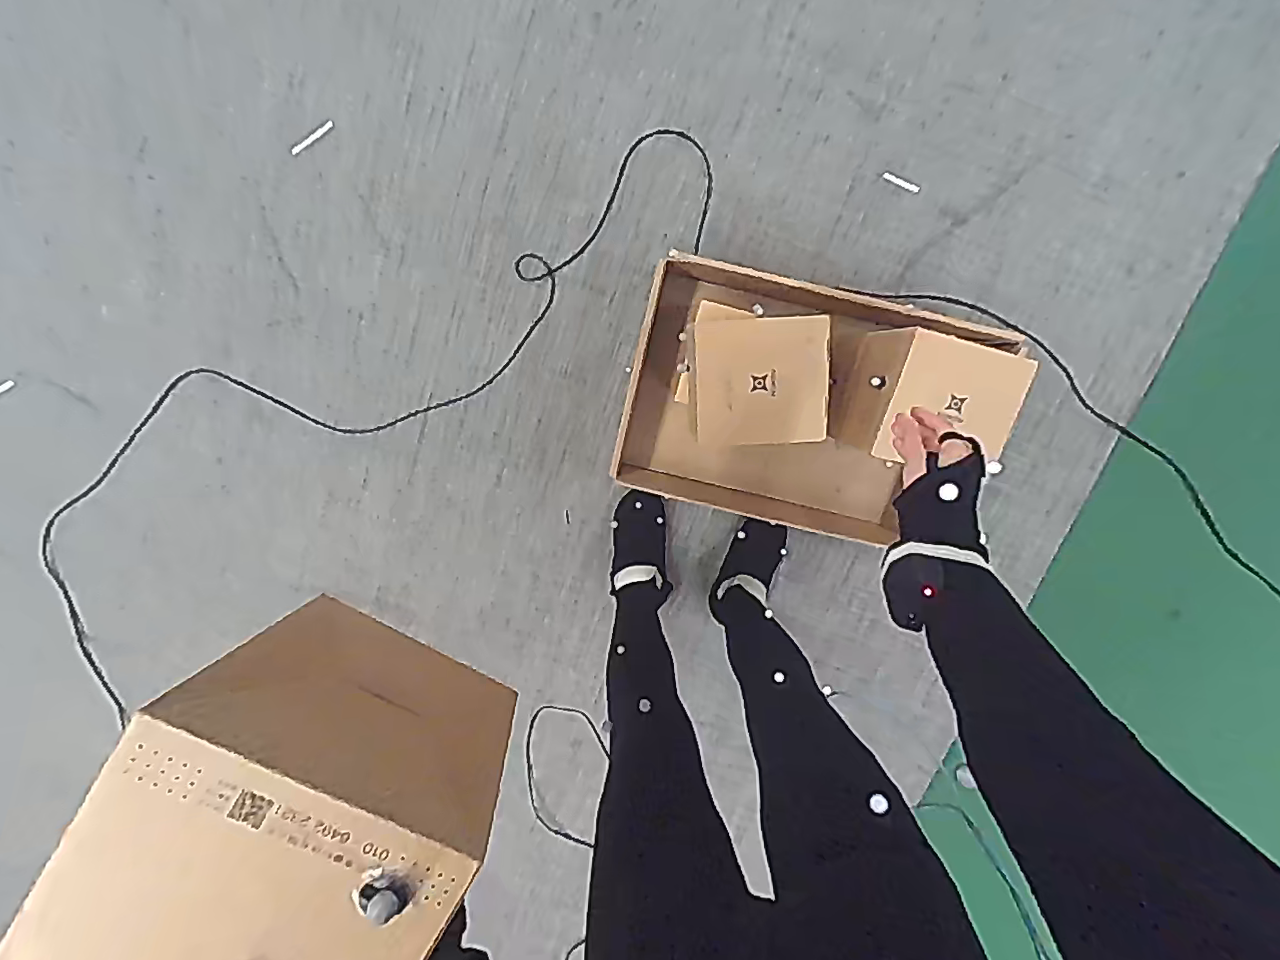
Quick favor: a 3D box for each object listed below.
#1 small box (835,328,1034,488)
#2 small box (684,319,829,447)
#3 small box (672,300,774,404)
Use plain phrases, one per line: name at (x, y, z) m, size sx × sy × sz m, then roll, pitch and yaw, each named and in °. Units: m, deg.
small box at (0.406, -0.110, 0.784) m, size 0.168 × 0.176 × 0.179 m, roll 16°, pitch 104°, yaw -1°
small box at (0.158, -0.146, 0.786) m, size 0.179 × 0.176 × 0.168 m, roll -2°, pitch 104°, yaw 2°
small box at (0.158, -0.202, 0.940) m, size 0.179 × 0.176 × 0.168 m, roll 14°, pitch 104°, yaw -3°
